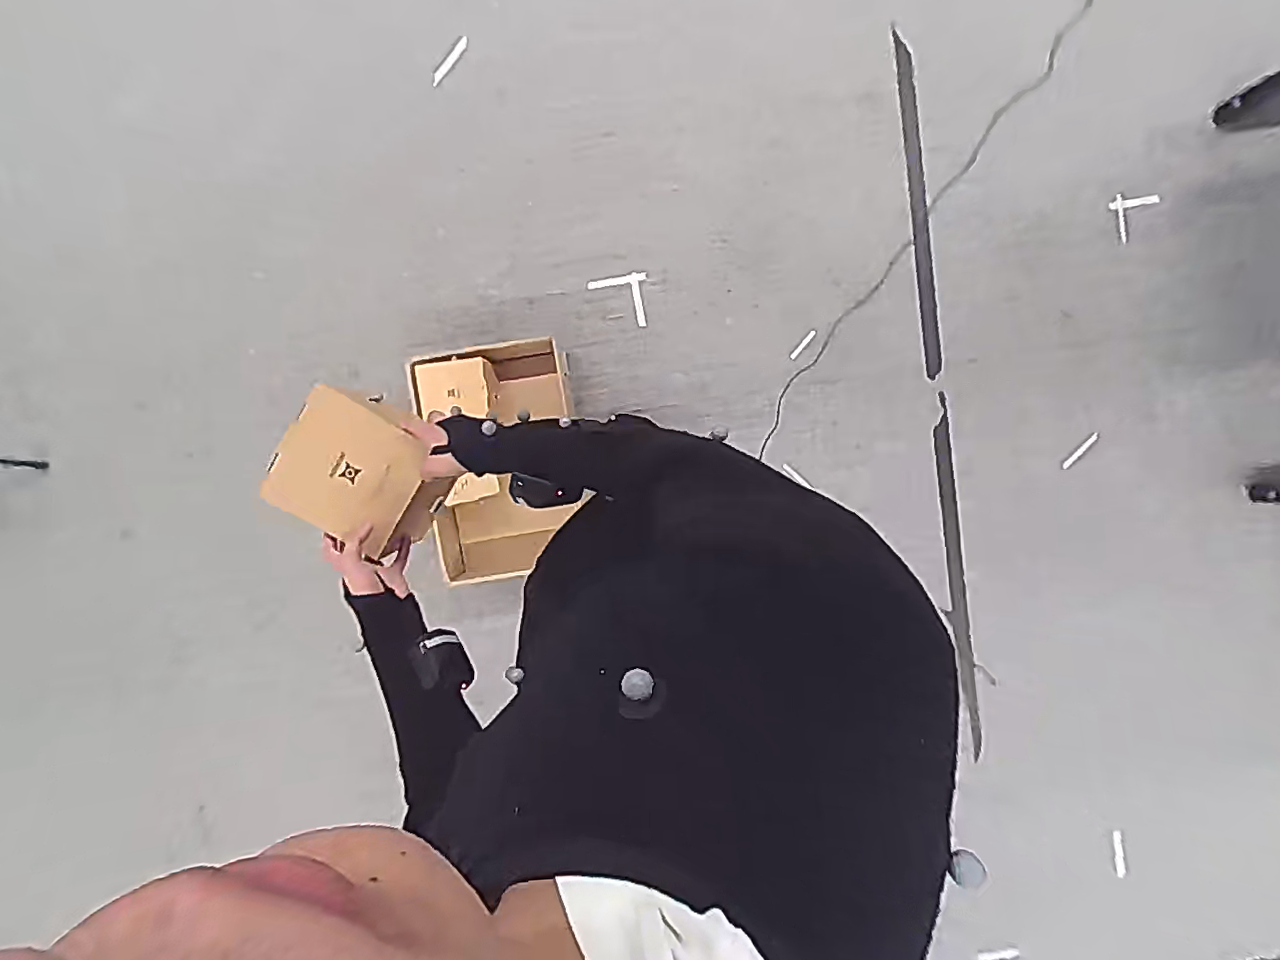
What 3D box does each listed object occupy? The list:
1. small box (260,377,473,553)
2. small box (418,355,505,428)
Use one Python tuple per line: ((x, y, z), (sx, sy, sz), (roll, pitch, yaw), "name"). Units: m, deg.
((-0.367, -0.021, 0.761), (0.179, 0.176, 0.168), (30, 92, -4), "small box")
((-0.481, -0.235, 1.478), (0.179, 0.176, 0.168), (-9, 94, -3), "small box")
